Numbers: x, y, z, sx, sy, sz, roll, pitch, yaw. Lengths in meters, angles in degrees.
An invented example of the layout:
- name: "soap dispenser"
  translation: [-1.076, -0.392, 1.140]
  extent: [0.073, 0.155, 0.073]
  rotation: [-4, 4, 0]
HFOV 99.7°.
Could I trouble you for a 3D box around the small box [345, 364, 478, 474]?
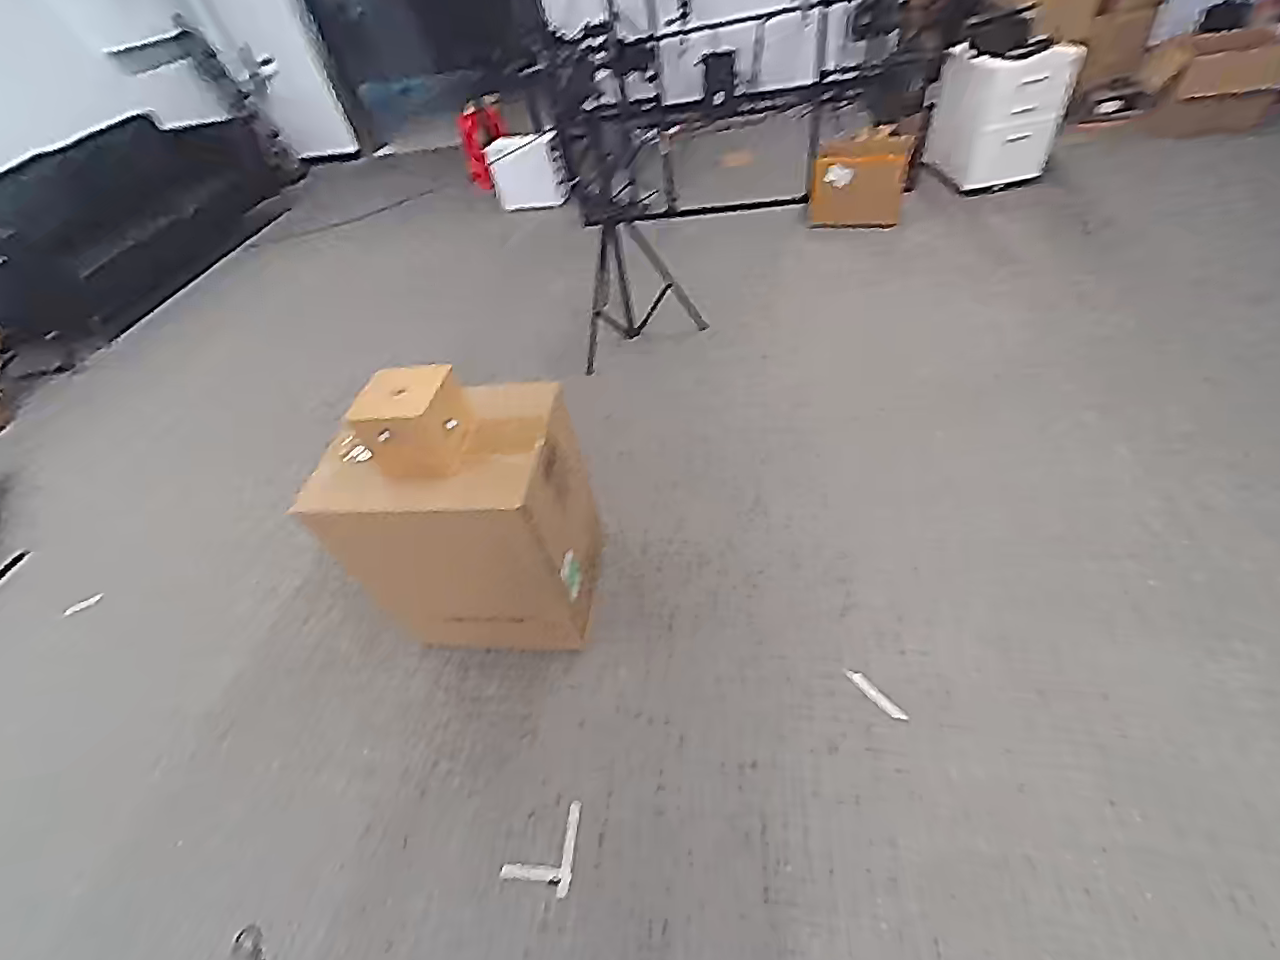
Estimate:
- name: "small box"
  translation: [-0.471, -0.125, 1.150]
  extent: [0.179, 0.176, 0.168]
  rotation: [-1, 47, 11]
